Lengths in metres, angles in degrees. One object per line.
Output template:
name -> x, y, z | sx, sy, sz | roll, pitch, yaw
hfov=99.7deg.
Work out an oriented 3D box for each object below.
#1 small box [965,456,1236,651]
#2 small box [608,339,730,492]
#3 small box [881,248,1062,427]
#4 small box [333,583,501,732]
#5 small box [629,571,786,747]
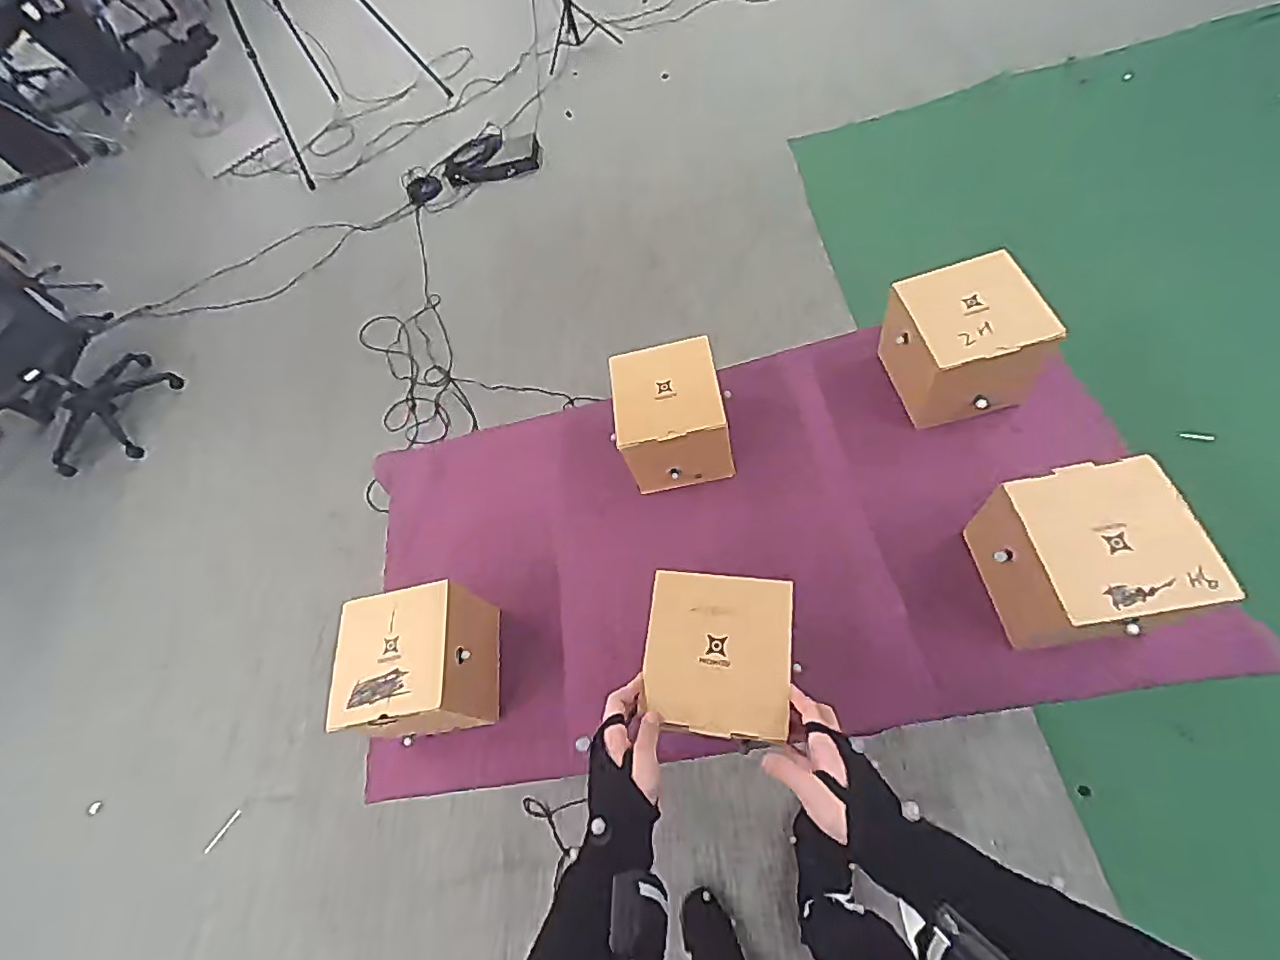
small box -> 0.534, 0.098, 0.667 | 0.168, 0.176, 0.179 | -13, 62, 10
small box -> 0.051, -0.102, 0.905 | 0.168, 0.176, 0.179 | -12, 64, 9
small box -> 0.488, -0.212, 0.834 | 0.168, 0.176, 0.179 | -16, 61, 11
small box -> -0.321, 0.275, 0.815 | 0.168, 0.176, 0.179 | -13, 60, 8
small box -> 0.097, 0.231, 0.694 | 0.168, 0.176, 0.179 | 4, 66, 15
